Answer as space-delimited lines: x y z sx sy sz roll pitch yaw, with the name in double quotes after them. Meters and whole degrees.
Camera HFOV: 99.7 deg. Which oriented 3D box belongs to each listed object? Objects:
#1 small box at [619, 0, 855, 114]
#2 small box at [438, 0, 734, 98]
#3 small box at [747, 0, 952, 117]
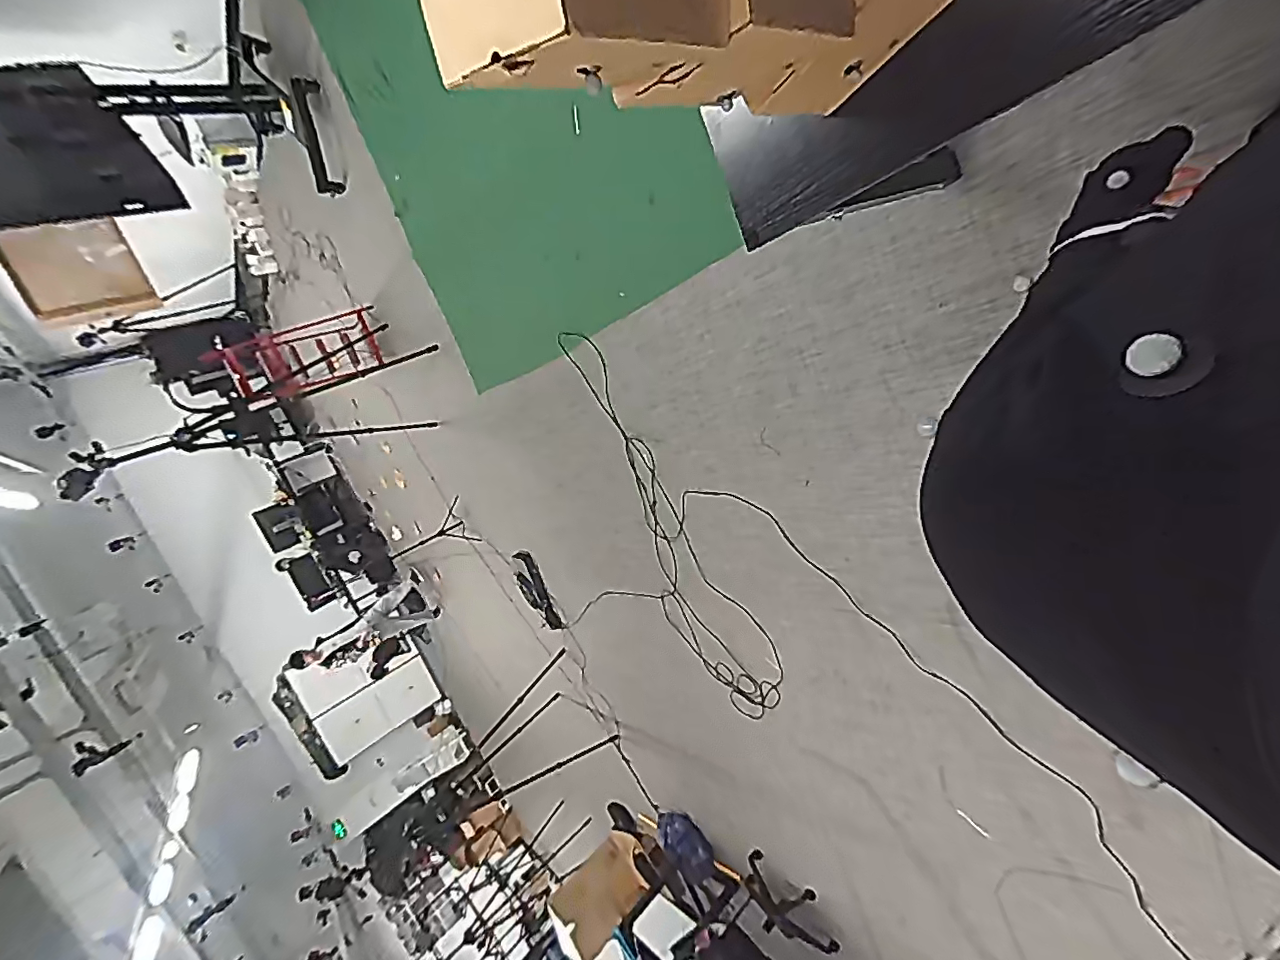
0.078 -0.462 0.490 0.168 0.176 0.179 10 121 47 "small box"
-0.043 -0.401 0.395 0.168 0.176 0.179 21 131 40 "small box"
0.196 -0.528 0.582 0.168 0.176 0.179 -23 96 54 "small box"
